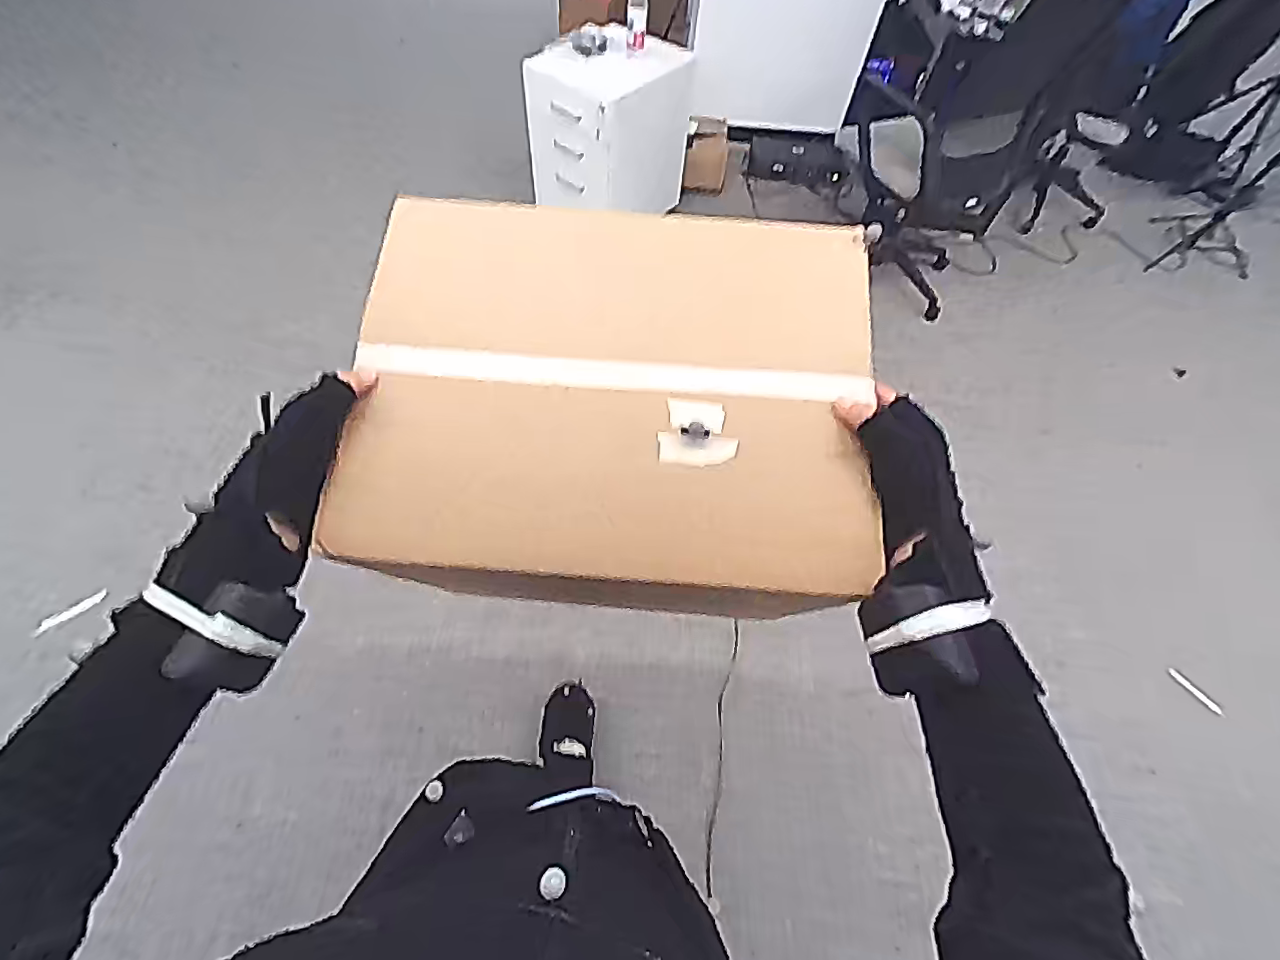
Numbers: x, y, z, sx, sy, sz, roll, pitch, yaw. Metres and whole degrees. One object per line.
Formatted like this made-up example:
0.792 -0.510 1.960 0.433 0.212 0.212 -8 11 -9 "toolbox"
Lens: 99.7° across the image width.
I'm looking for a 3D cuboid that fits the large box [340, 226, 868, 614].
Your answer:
-0.022 -0.030 0.586 0.408 0.320 0.320 4 74 1 "large box"
